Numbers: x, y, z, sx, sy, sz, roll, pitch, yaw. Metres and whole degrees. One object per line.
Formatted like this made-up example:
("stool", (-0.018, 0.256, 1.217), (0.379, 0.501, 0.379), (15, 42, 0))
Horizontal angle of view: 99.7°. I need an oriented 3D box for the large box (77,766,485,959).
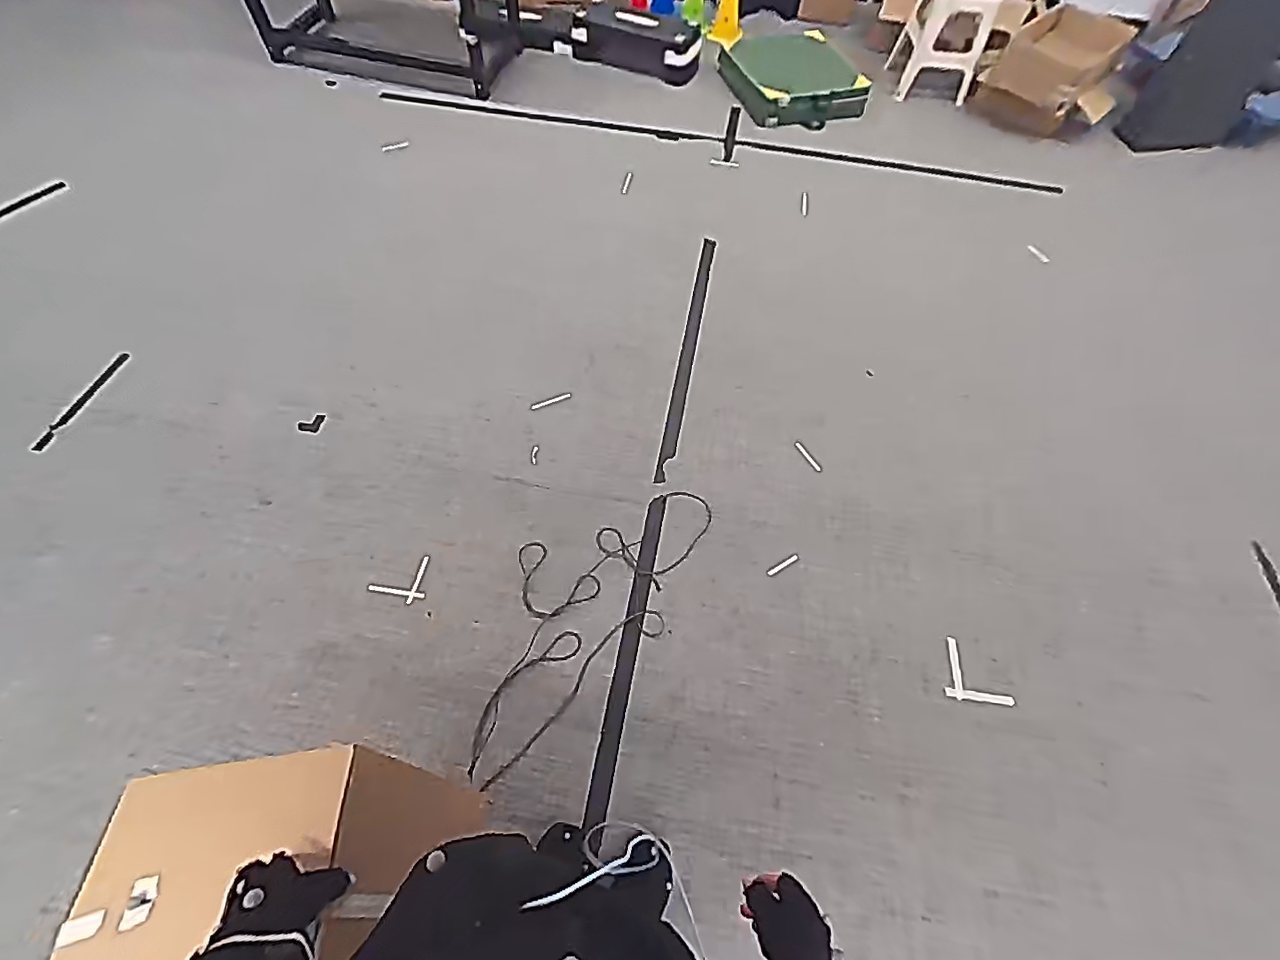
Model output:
("large box", (-0.444, 0.610, 0.730), (0.320, 0.408, 0.320), (-9, 51, 5))
